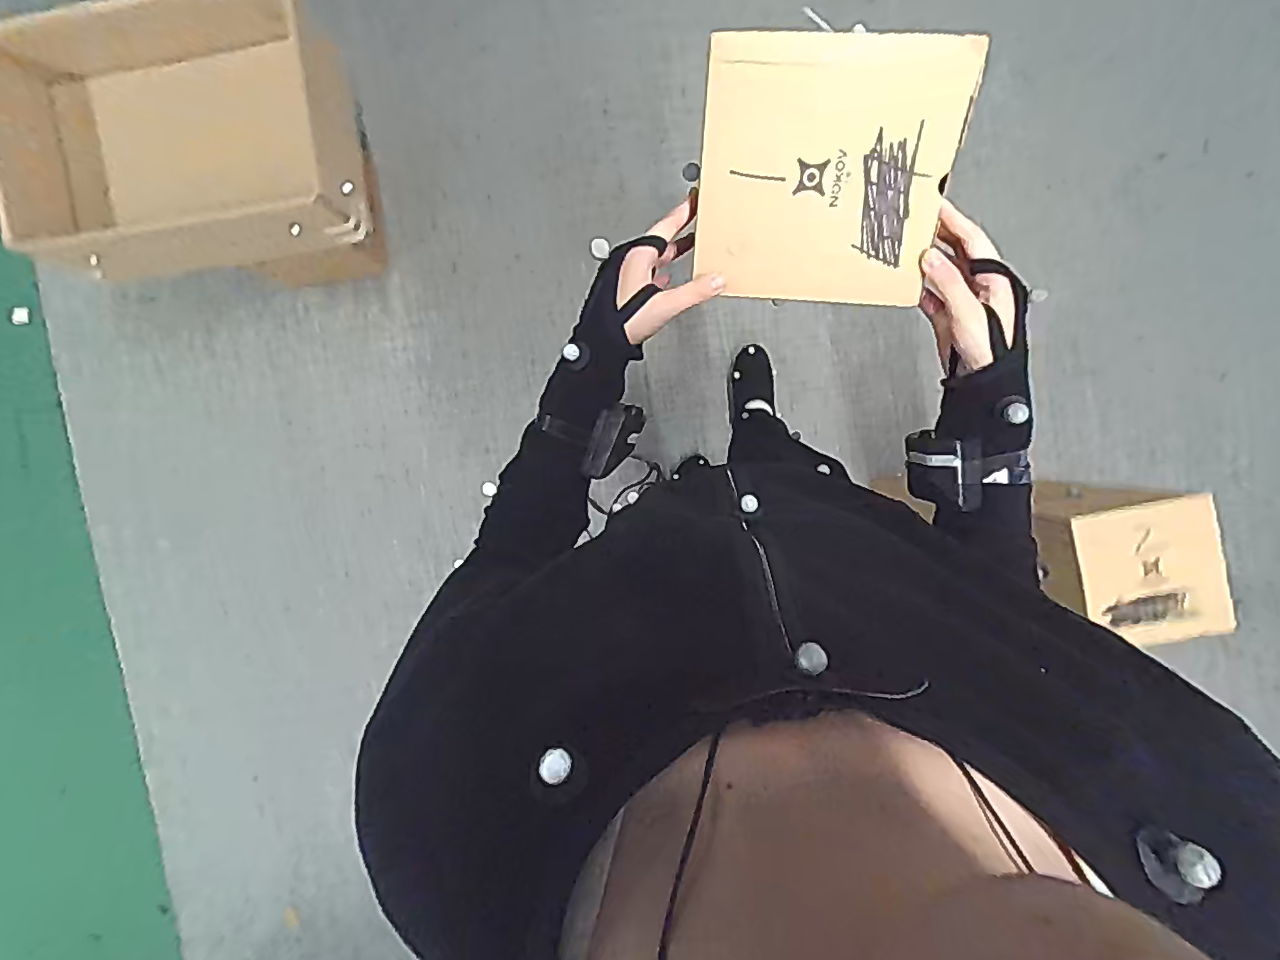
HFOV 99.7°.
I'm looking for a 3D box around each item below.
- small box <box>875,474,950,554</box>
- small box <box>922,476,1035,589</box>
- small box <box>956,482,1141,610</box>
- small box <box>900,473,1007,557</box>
[{"bbox_3d":[0.719,0.079,1.382,0.168,0.176,0.179,-9,93,5],"label":"small box"},{"bbox_3d":[0.679,0.096,1.058,0.168,0.176,0.179,-11,93,5],"label":"small box"},{"bbox_3d":[0.662,0.101,0.896,0.179,0.176,0.168,-10,92,6],"label":"small box"},{"bbox_3d":[0.706,0.079,1.219,0.168,0.176,0.179,-8,93,6],"label":"small box"}]
